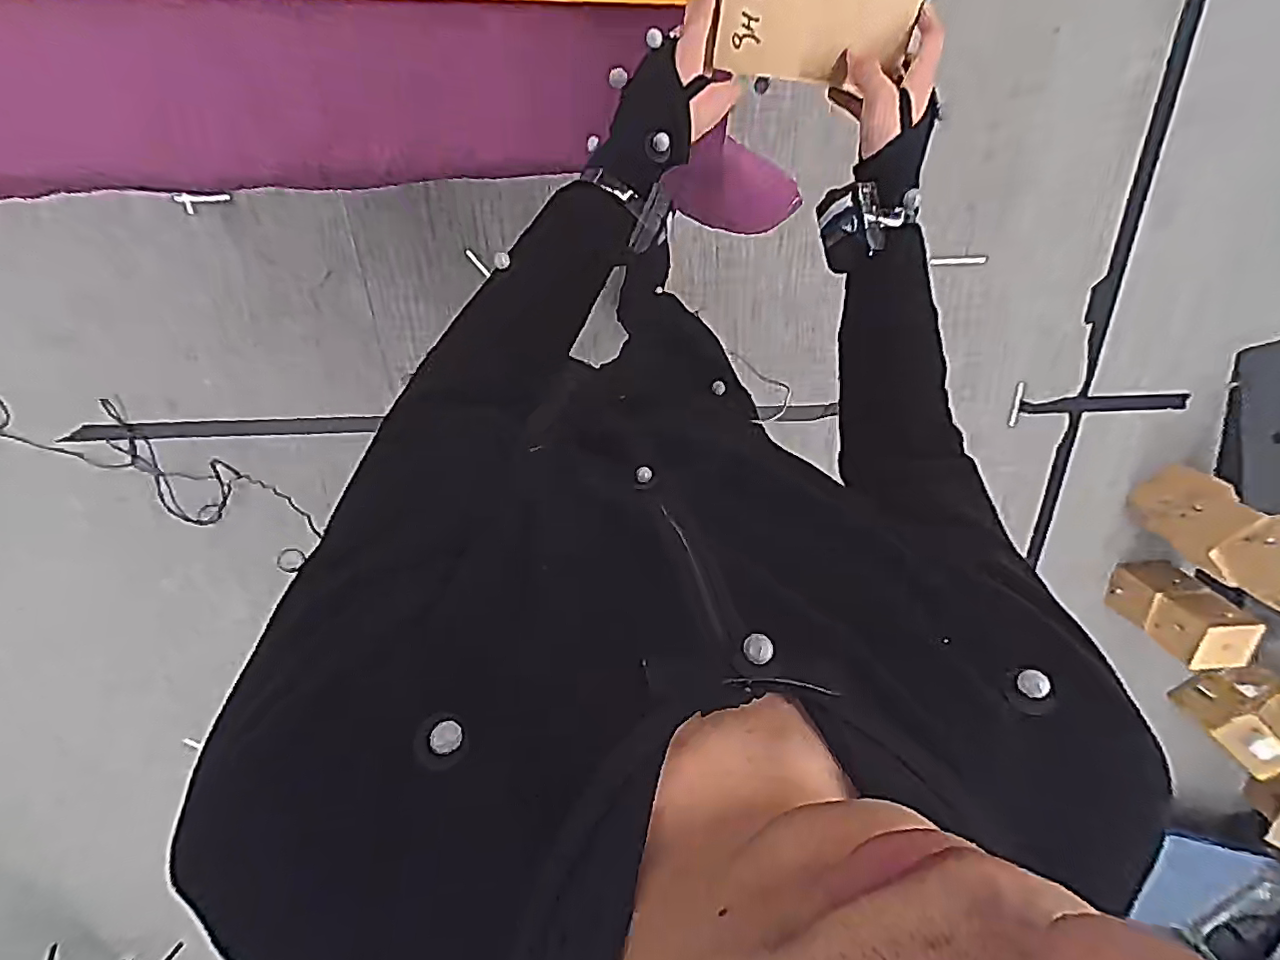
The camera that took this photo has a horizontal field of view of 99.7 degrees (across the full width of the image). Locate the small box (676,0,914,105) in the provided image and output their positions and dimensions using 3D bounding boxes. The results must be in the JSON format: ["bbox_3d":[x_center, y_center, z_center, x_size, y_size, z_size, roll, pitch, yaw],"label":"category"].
[{"bbox_3d":[0.143,-0.472,0.506,0.179,0.176,0.168,2,130,-10],"label":"small box"}]
